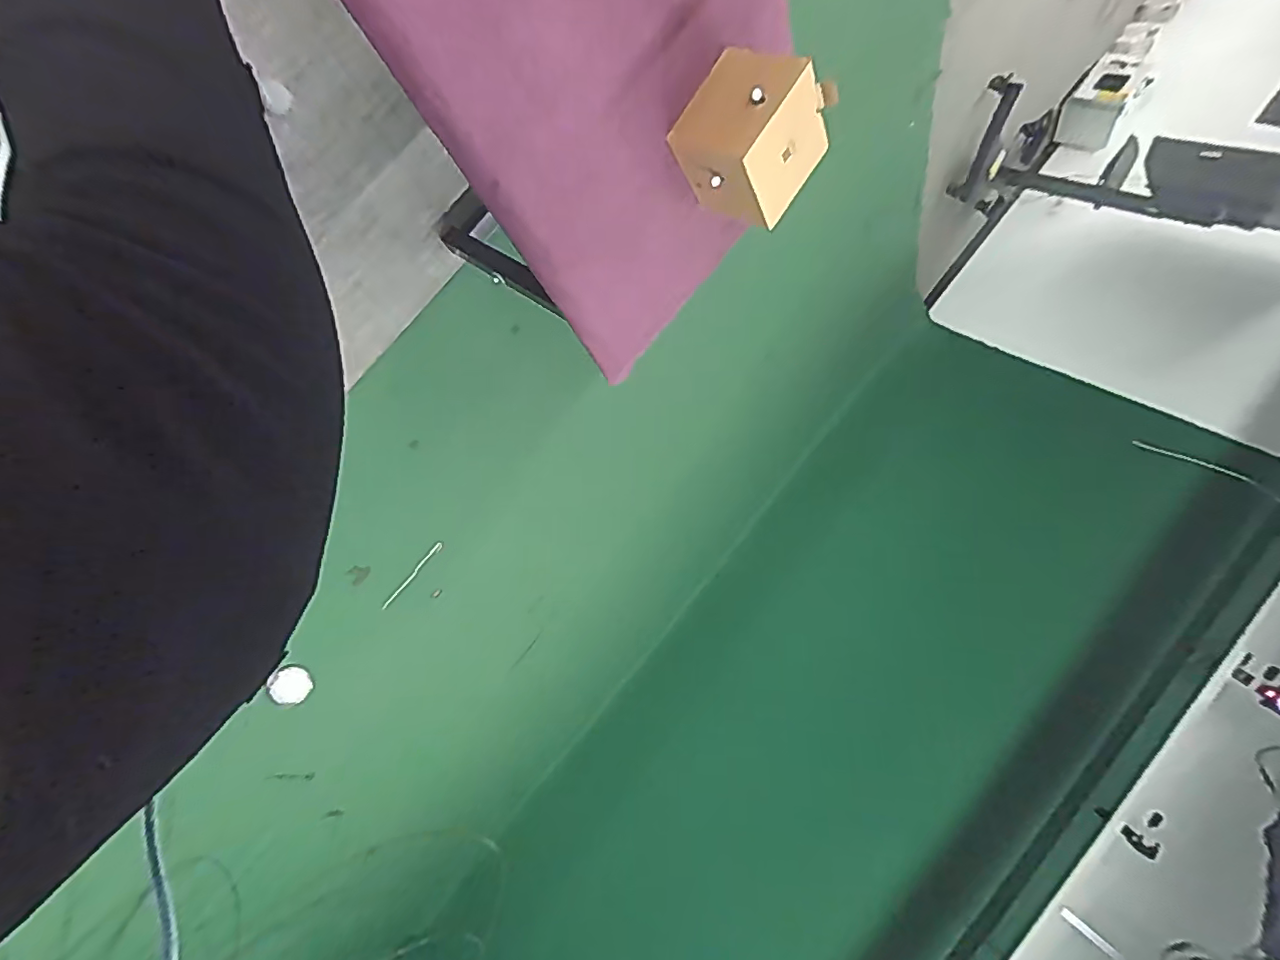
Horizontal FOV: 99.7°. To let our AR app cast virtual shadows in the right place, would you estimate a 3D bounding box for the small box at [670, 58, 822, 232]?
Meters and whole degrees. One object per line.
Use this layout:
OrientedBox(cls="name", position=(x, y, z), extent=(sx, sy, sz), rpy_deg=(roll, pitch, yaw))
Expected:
OrientedBox(cls="small box", position=(0.172, -0.561, 0.909), extent=(0.179, 0.176, 0.168), rpy_deg=(-56, 148, 3))
